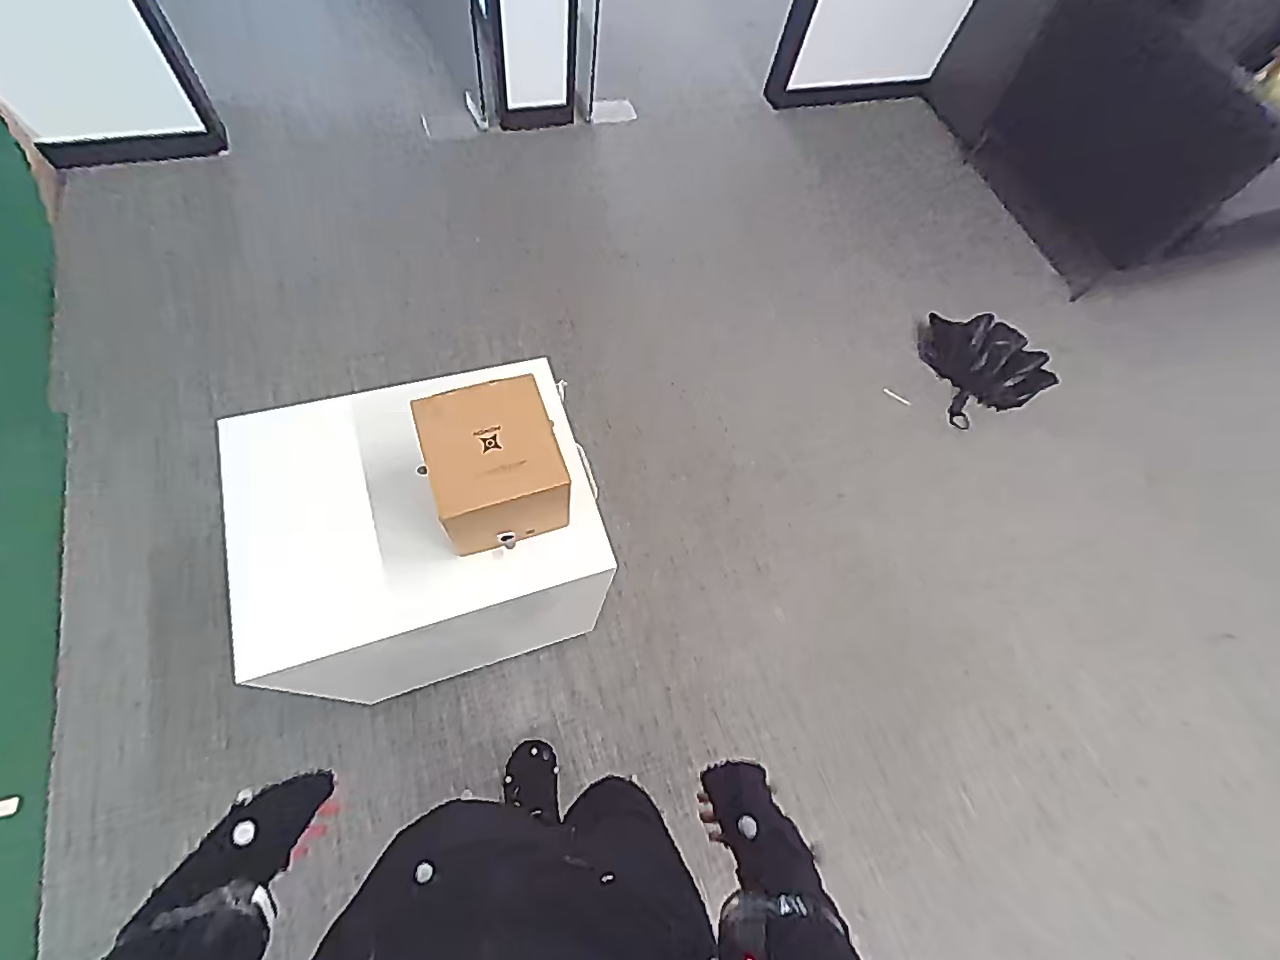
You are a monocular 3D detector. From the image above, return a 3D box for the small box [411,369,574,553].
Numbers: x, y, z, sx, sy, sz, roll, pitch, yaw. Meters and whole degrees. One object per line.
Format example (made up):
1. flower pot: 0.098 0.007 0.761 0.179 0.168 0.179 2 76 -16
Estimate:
1. small box: -0.198 -0.021 0.749 0.168 0.176 0.179 -18 71 -15
